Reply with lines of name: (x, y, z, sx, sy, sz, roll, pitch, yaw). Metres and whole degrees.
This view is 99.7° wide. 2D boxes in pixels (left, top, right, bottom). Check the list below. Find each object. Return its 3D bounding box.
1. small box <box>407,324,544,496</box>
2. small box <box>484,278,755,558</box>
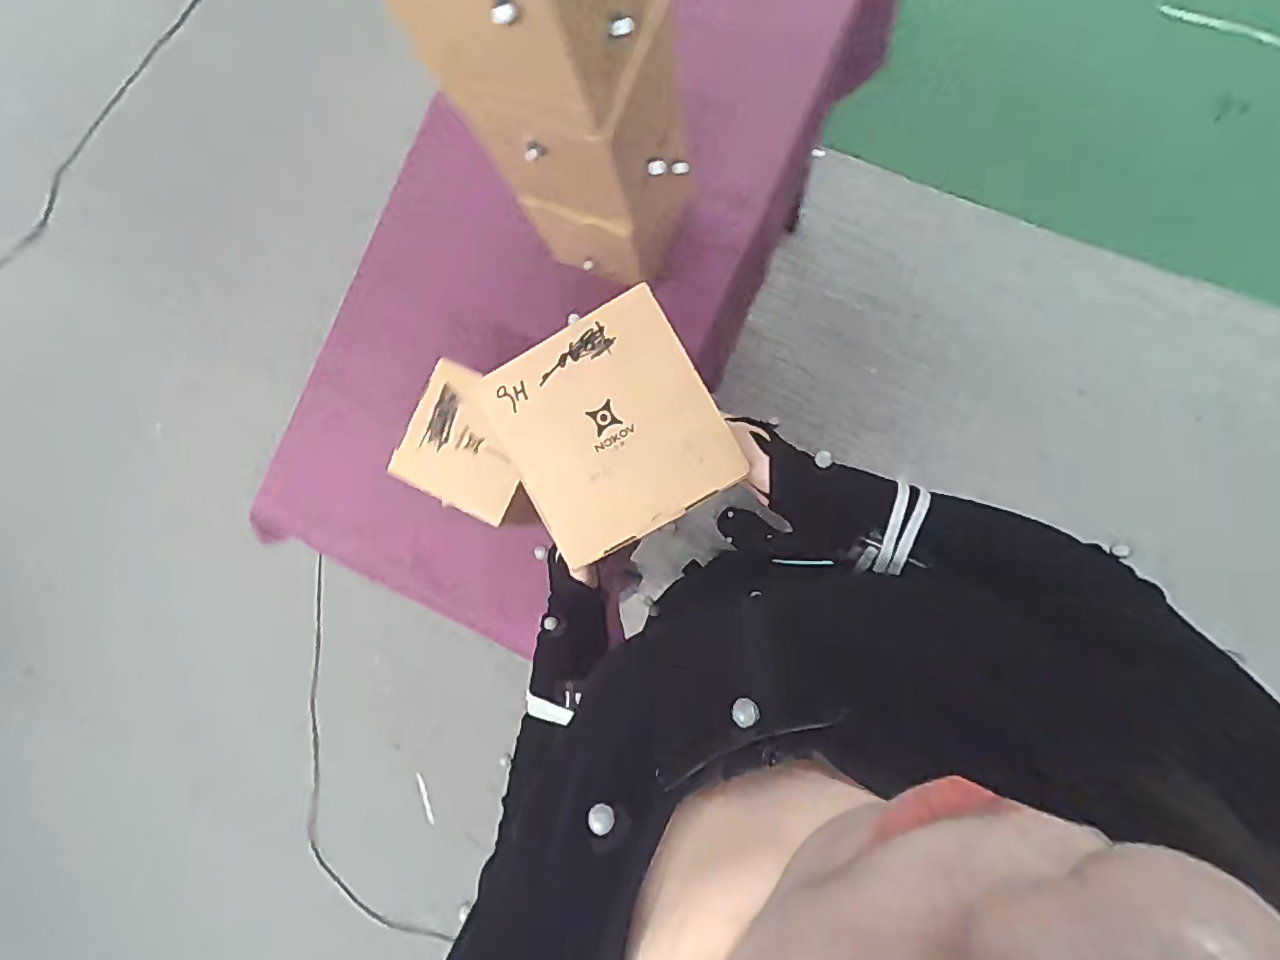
small box: (-0.181, -0.085, 0.771, 0.179, 0.176, 0.168, 33, 91, 9)
small box: (-0.011, -0.051, 0.509, 0.168, 0.176, 0.179, -27, 90, 4)
